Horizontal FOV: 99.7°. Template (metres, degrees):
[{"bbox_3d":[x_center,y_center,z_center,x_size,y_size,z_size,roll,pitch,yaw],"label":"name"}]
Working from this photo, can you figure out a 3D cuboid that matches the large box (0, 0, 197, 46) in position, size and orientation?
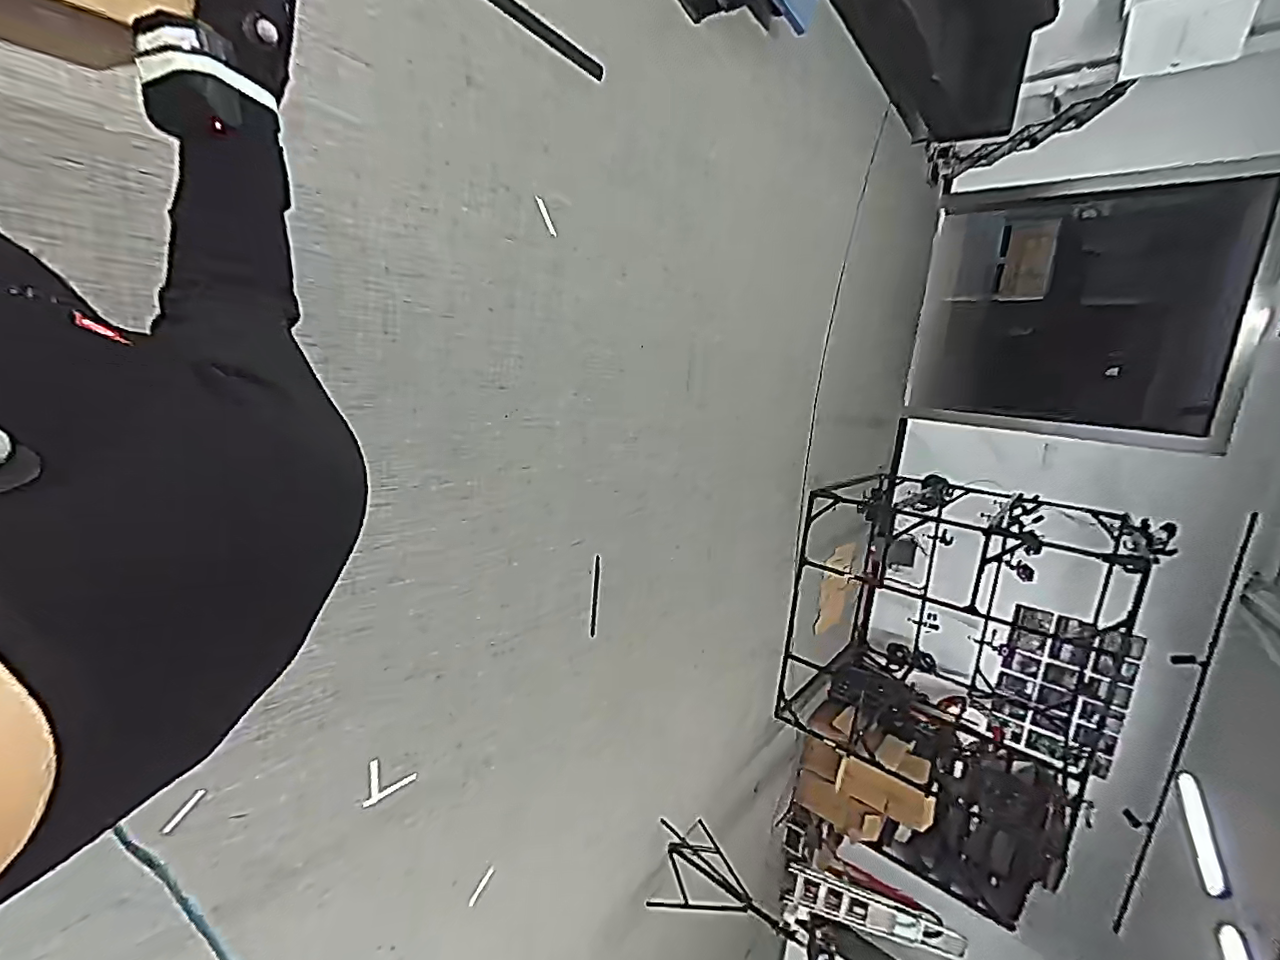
[{"bbox_3d":[-0.537,-0.494,0.272,0.408,0.320,0.320,-16,125,-51],"label":"large box"}]
